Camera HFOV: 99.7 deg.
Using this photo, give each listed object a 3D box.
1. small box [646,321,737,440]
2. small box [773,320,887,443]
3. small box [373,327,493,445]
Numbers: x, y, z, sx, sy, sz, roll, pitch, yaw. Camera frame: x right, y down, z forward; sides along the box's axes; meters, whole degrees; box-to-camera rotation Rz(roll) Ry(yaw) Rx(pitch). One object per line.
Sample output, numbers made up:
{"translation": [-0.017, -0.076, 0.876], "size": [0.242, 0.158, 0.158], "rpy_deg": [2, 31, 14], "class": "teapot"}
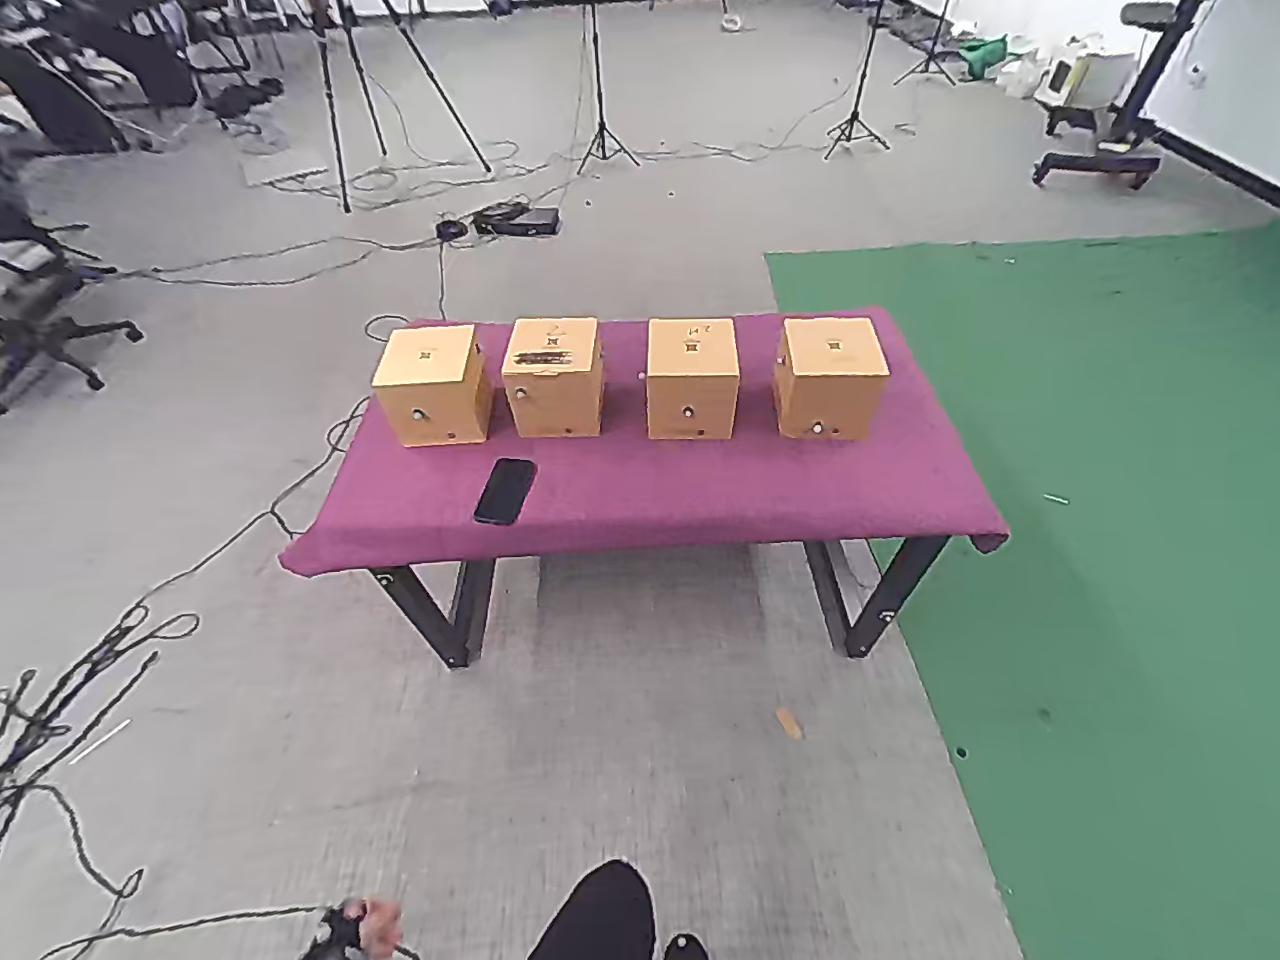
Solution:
{"translation": [0.099, -0.195, 1.071], "size": [0.168, 0.176, 0.179], "rpy_deg": [1, 50, 3], "class": "small box"}
{"translation": [0.359, -0.193, 1.060], "size": [0.168, 0.176, 0.179], "rpy_deg": [1, 50, 5], "class": "small box"}
{"translation": [-0.402, -0.182, 1.084], "size": [0.168, 0.176, 0.179], "rpy_deg": [-4, 49, -1], "class": "small box"}
